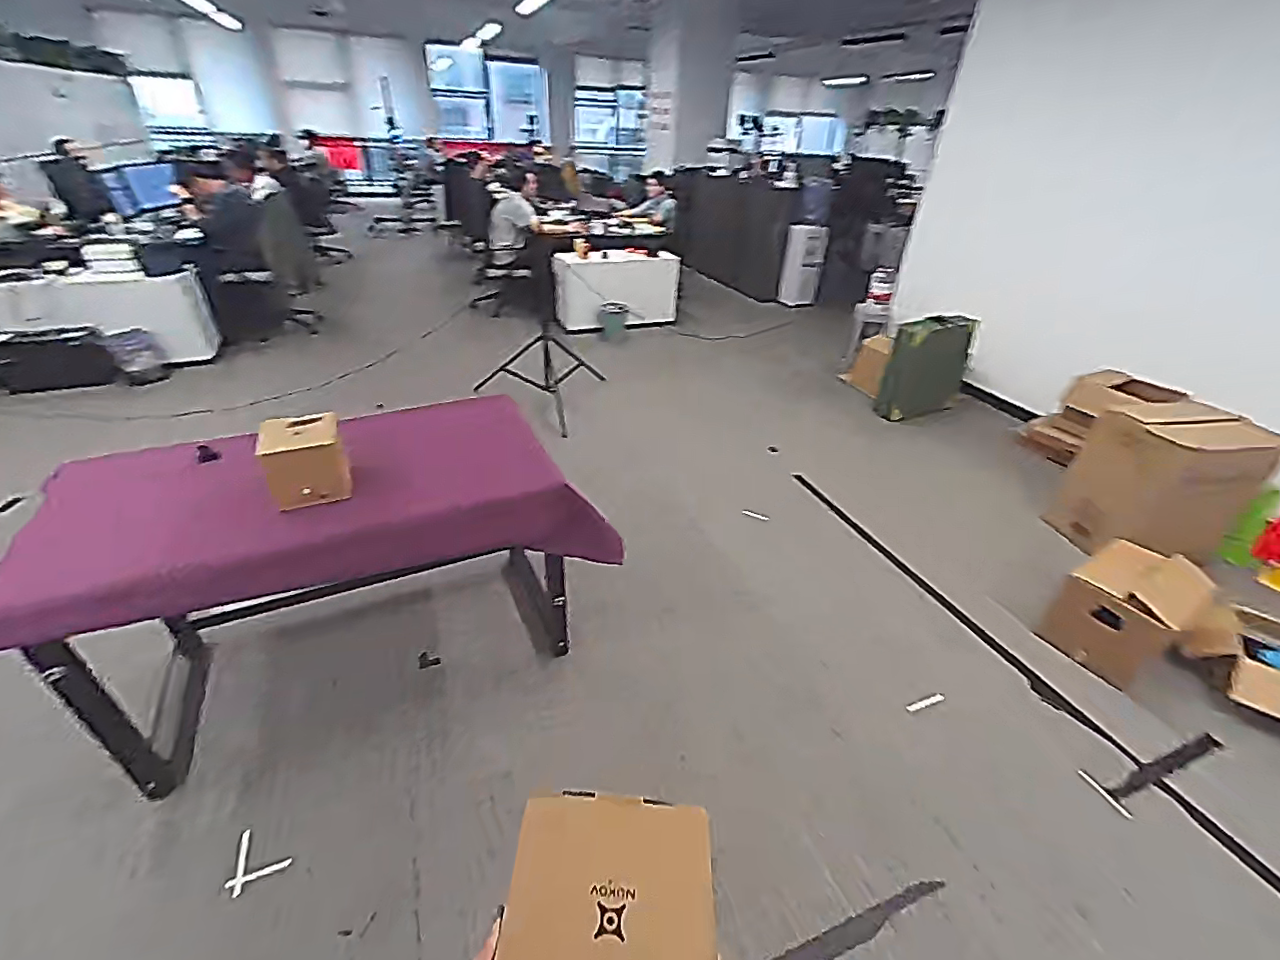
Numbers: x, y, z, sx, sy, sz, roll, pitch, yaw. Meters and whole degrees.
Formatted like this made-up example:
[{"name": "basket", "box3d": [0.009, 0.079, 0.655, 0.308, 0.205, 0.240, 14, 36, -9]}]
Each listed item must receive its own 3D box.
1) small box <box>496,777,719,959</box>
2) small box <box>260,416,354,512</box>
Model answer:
[{"name": "small box", "box3d": [-0.031, 0.393, 0.467, 0.168, 0.176, 0.179, 7, 35, -2]}, {"name": "small box", "box3d": [-0.843, -0.043, 1.383, 0.168, 0.176, 0.179, -12, 36, -22]}]
